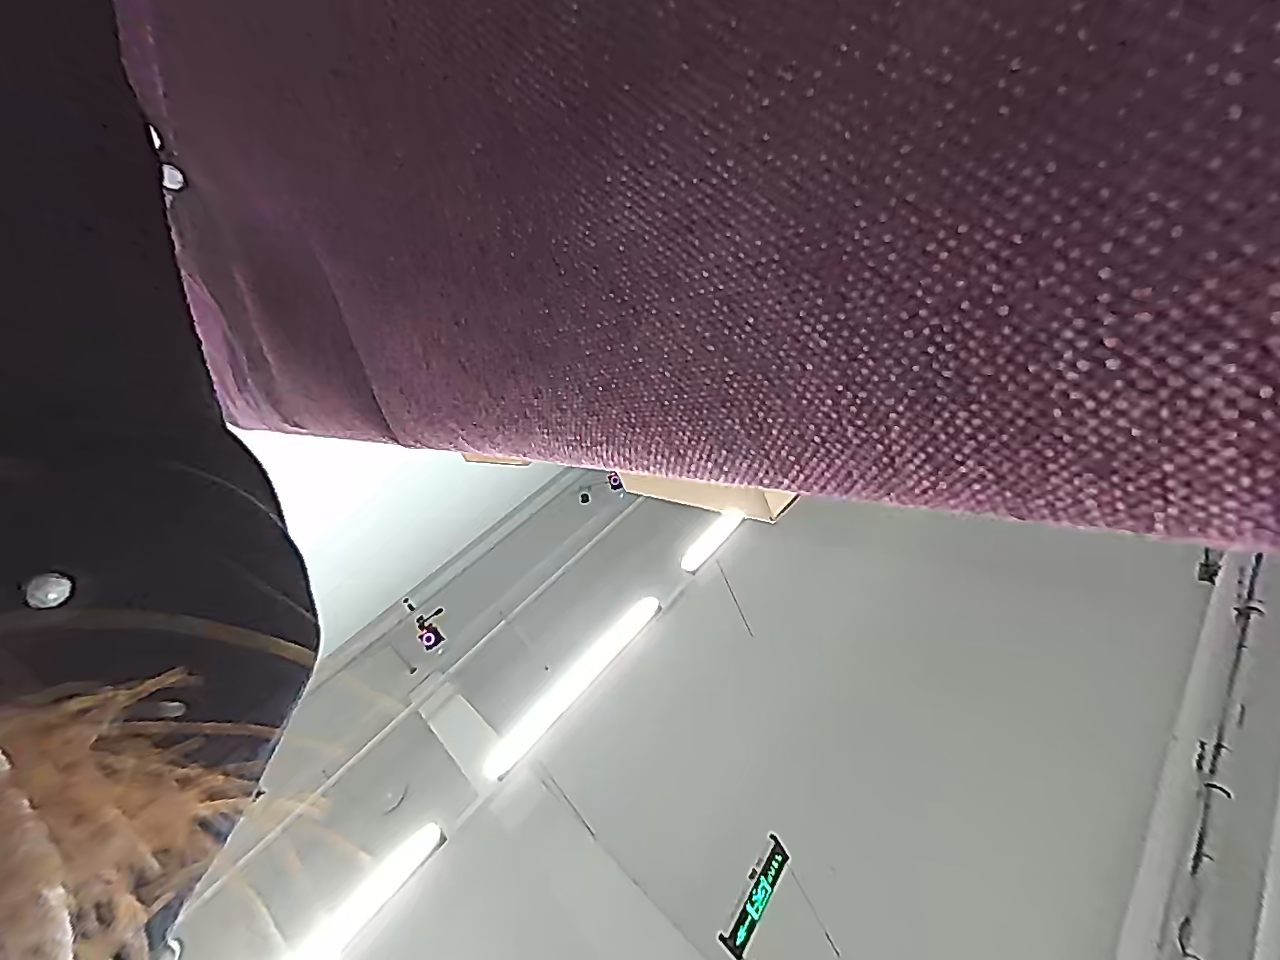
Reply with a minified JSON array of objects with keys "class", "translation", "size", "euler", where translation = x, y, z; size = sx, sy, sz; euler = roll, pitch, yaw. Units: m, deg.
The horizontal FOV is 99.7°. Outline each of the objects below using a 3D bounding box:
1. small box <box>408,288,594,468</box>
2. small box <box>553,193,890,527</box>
[{"class":"small box","translation":[-0.173,-0.134,0.712],"size":[0.179,0.176,0.168],"euler":[5,-140,48]},{"class":"small box","translation":[0.063,-0.092,0.424],"size":[0.179,0.176,0.168],"euler":[-41,-150,-27]}]
